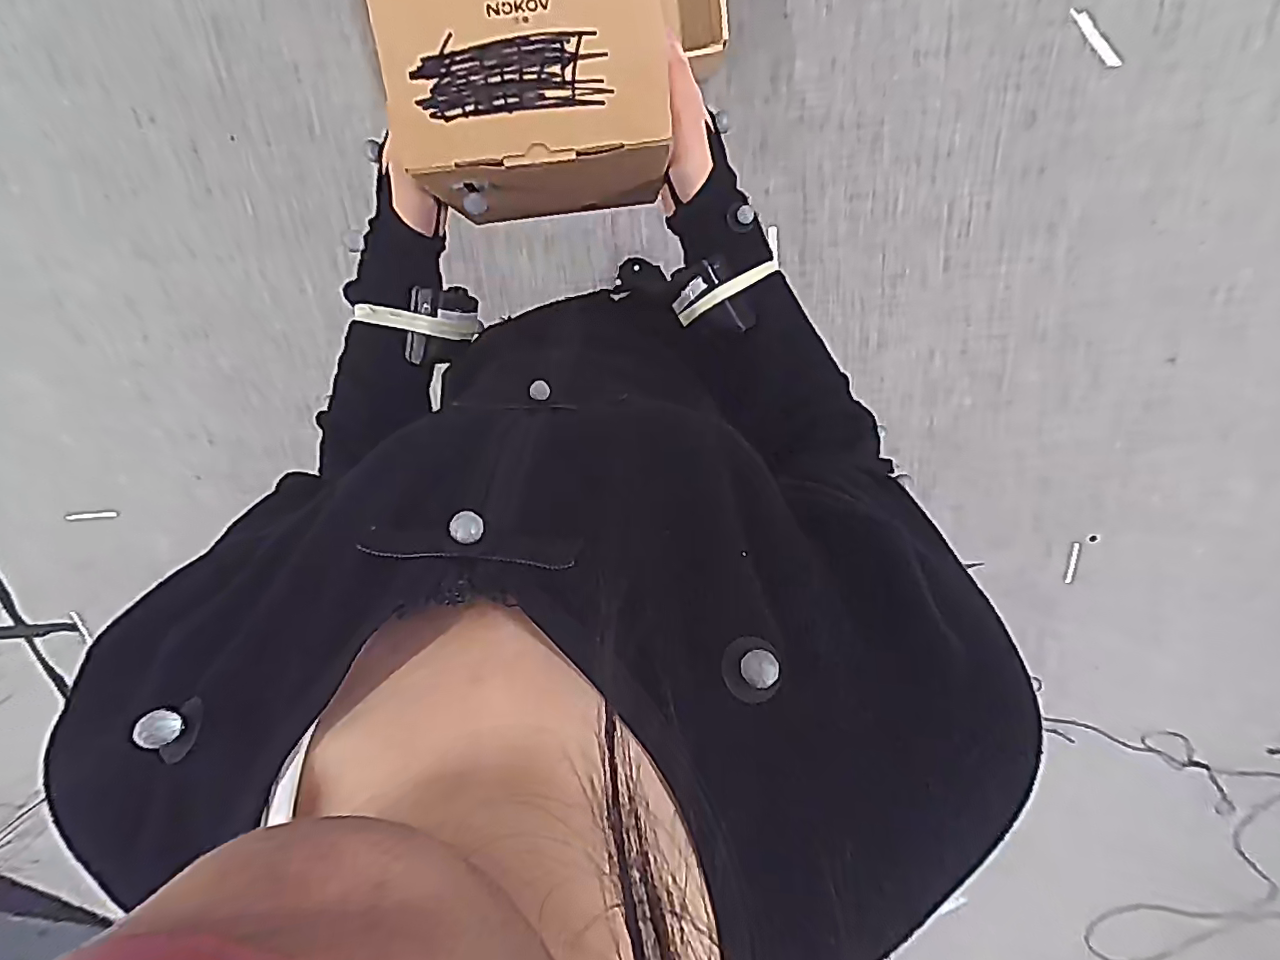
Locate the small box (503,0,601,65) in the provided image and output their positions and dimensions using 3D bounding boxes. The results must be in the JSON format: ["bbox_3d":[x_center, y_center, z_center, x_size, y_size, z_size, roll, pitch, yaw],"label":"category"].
[{"bbox_3d":[-0.178,-0.950,1.041,0.168,0.176,0.179,-13,111,6],"label":"small box"}]
